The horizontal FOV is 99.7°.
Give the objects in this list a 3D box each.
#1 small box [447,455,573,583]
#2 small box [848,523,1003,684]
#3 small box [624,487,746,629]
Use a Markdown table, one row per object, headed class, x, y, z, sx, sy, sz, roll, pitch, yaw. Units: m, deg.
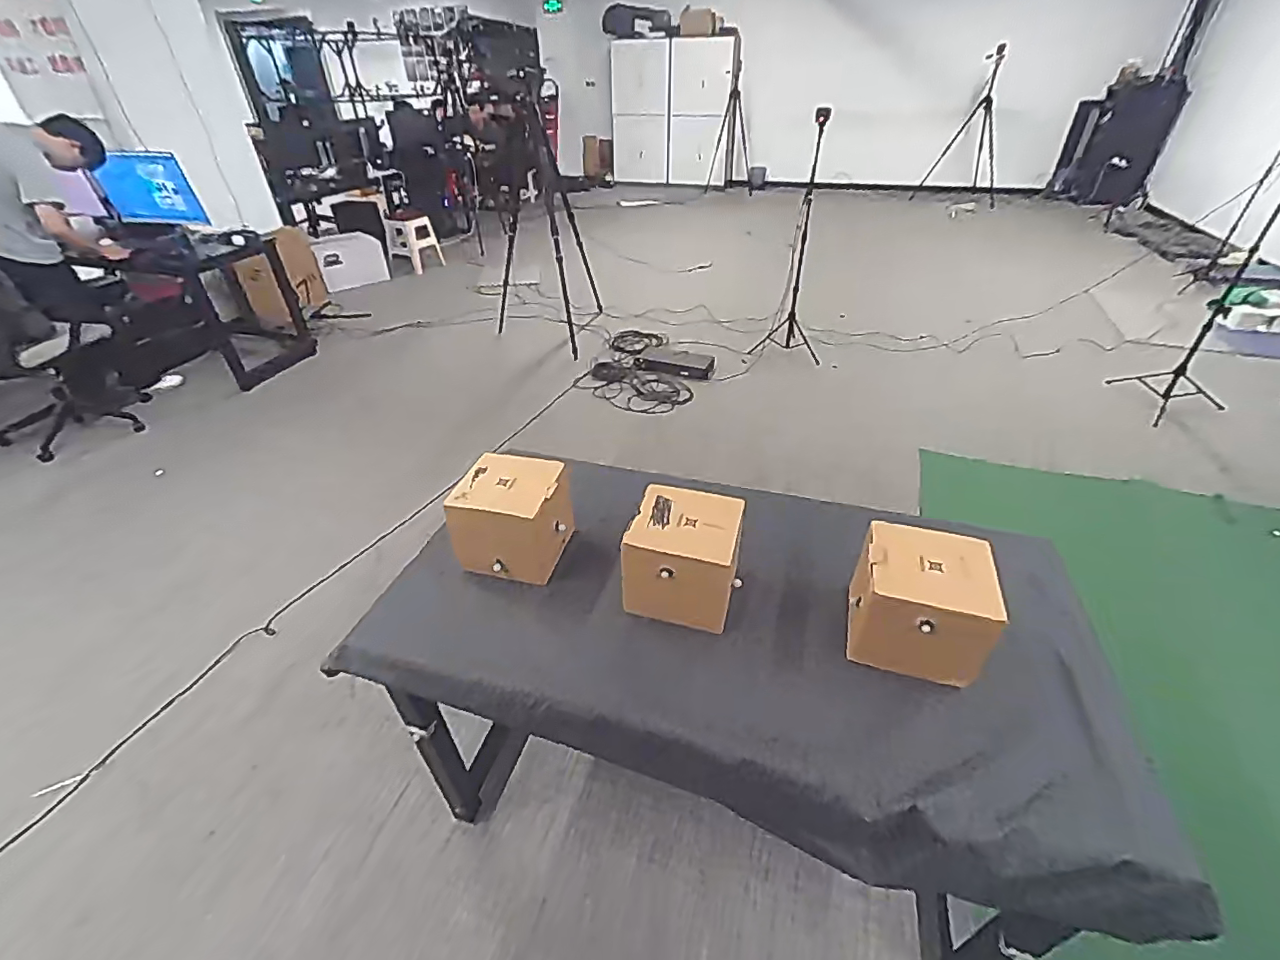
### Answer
| class | x | y | z | sx | sy | sz | roll | pitch | yaw |
| --- | --- | --- | --- | --- | --- | --- | --- | --- | --- |
| small box | -0.236 | 0.075 | 1.039 | 0.179 | 0.176 | 0.168 | 9 | 38 | 11 |
| small box | 0.439 | 0.196 | 0.864 | 0.179 | 0.176 | 0.168 | 11 | 40 | 15 |
| small box | 0.080 | 0.136 | 0.949 | 0.179 | 0.176 | 0.168 | 10 | 38 | 14 |
